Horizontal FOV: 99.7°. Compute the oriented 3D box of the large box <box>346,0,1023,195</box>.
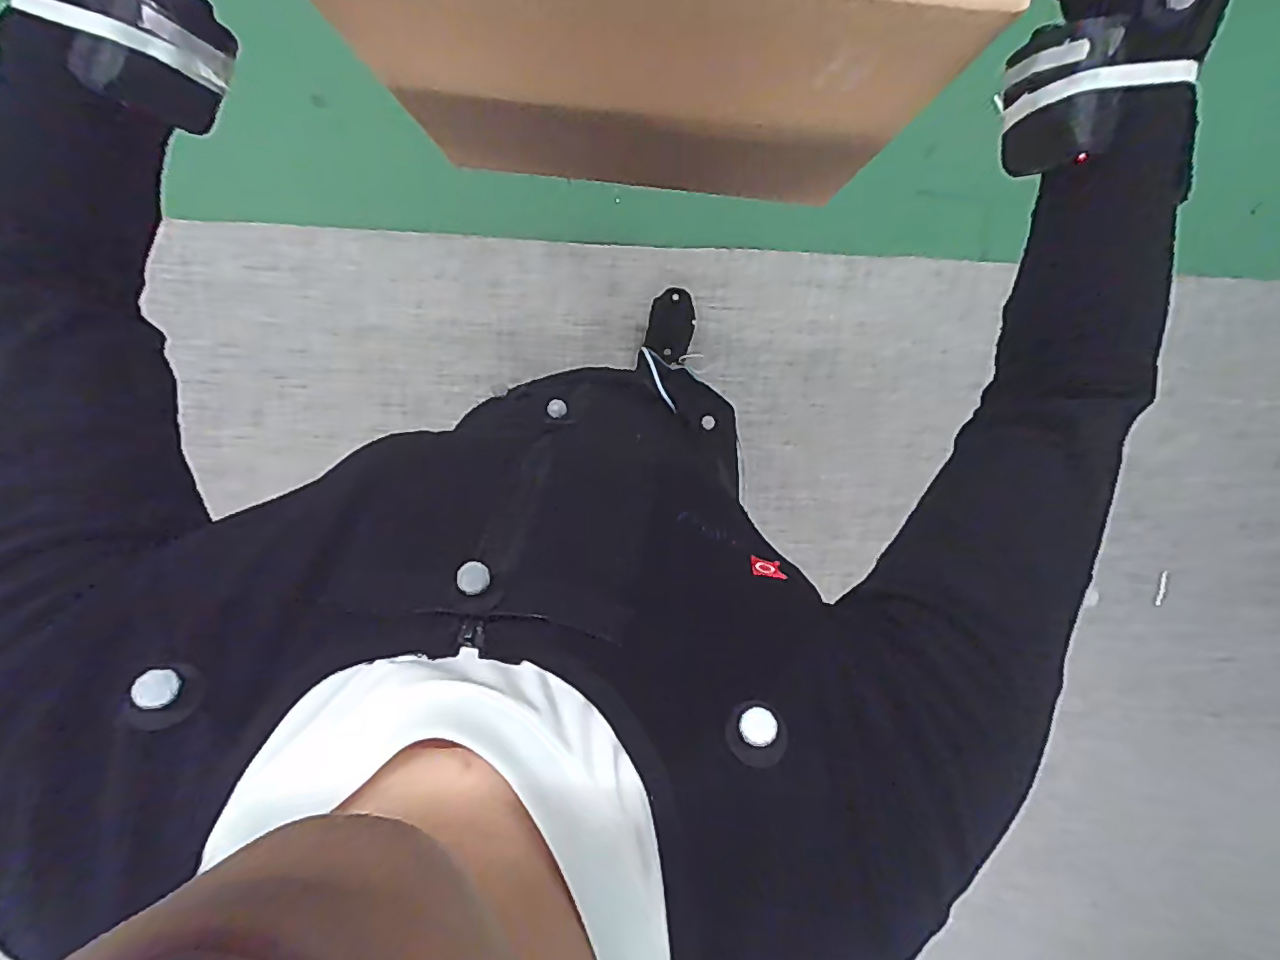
[{"bbox_3d":[0.021,-0.444,0.411,0.408,0.320,0.320,5,101,-2],"label":"large box"}]
